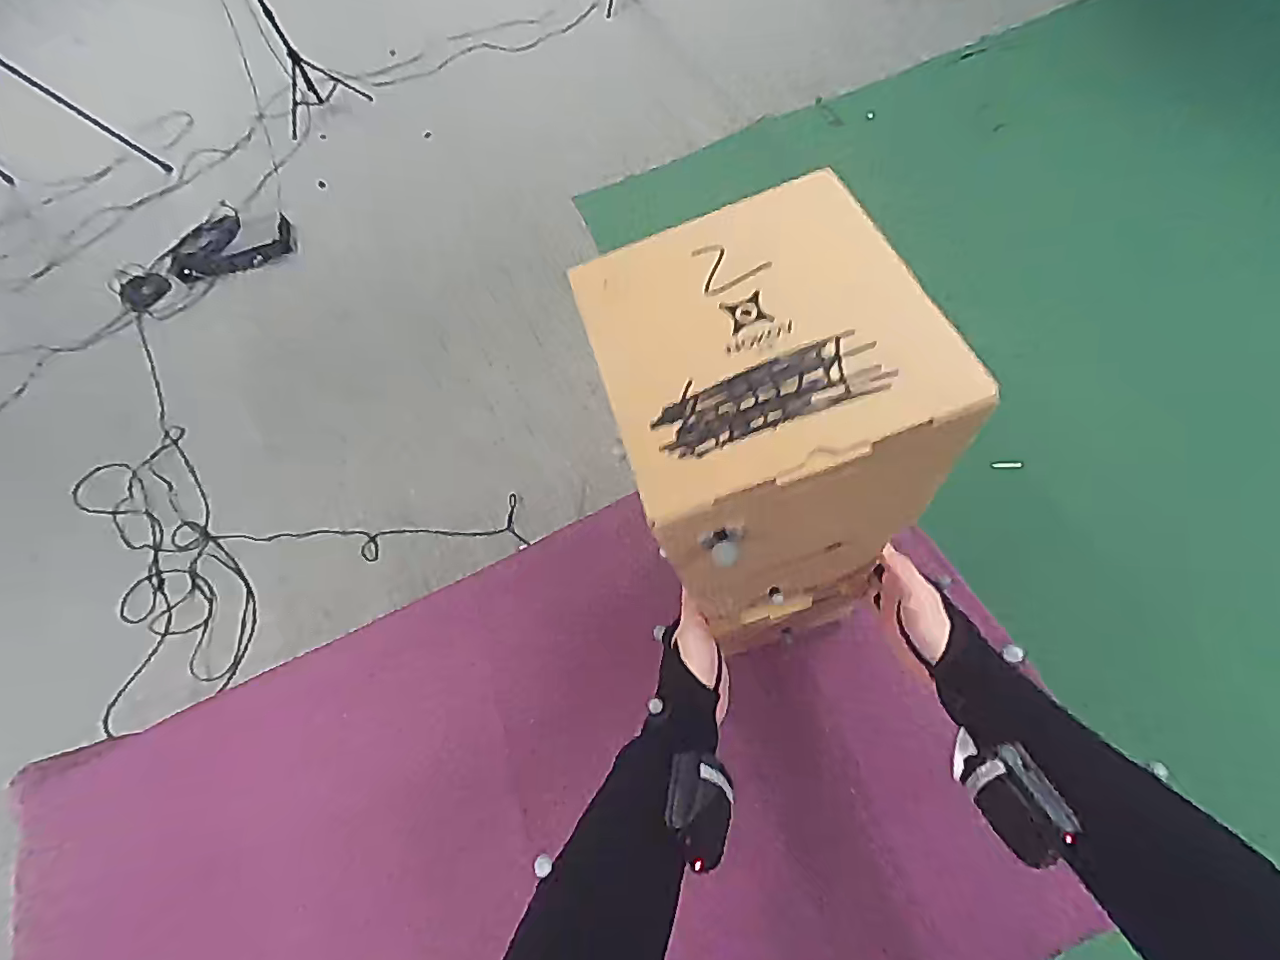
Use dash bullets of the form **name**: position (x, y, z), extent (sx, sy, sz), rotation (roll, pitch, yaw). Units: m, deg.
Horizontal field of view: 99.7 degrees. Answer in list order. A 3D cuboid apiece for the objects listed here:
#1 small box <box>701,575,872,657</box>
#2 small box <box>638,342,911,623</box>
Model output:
- **small box**: position (0.141, 0.090, 0.632), extent (0.168, 0.176, 0.179), rotation (-19, 63, 4)
- **small box**: position (0.108, 0.013, 0.493), extent (0.168, 0.176, 0.179), rotation (-18, 64, 3)
